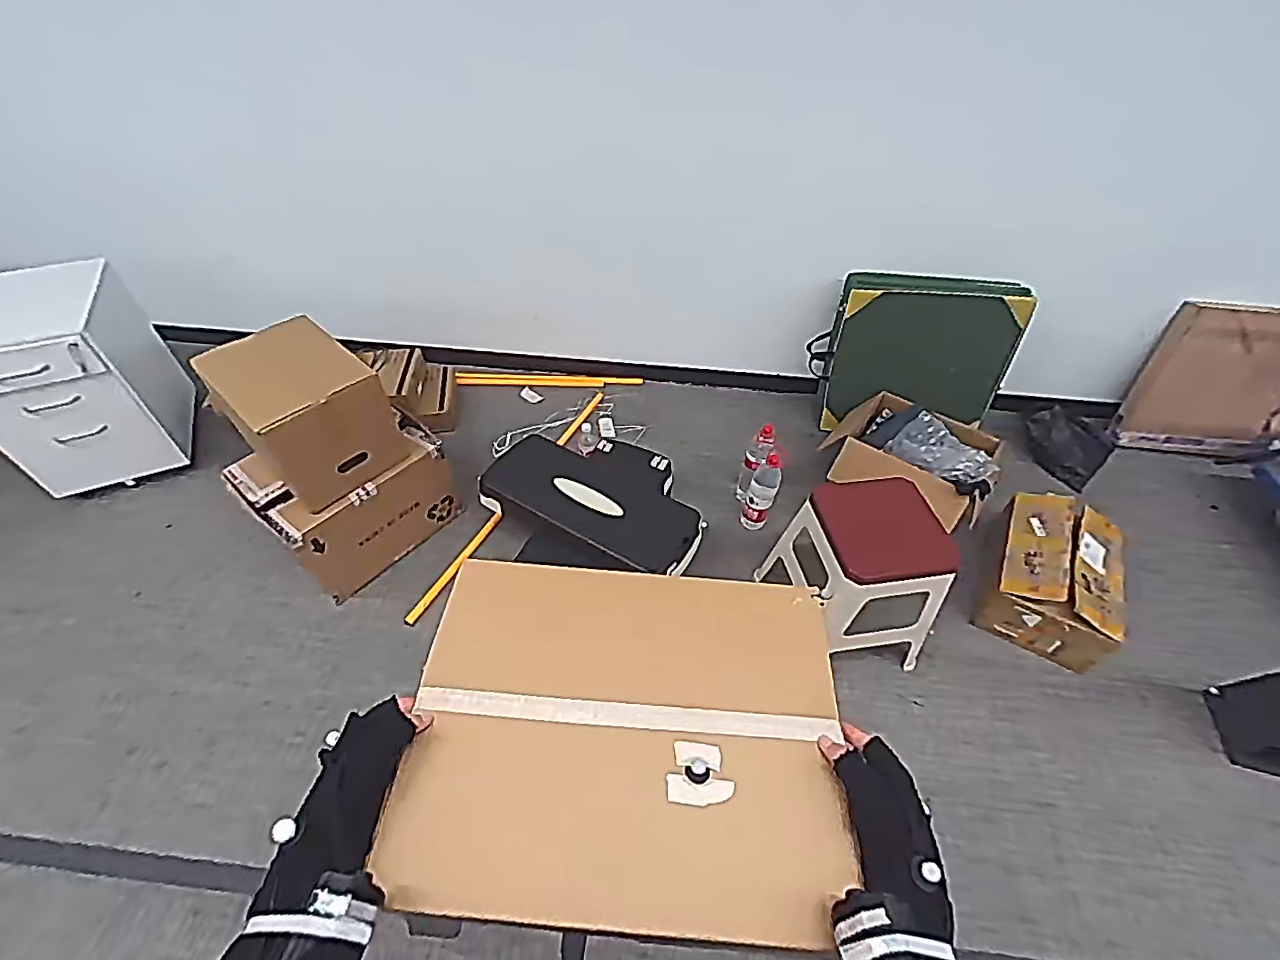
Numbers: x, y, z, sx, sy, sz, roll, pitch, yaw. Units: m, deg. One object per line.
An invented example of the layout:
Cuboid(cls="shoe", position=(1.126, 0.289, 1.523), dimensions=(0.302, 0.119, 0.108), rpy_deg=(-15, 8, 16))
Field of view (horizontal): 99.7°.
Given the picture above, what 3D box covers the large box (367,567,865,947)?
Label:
Cuboid(cls="large box", position=(-0.019, 0.327, 0.632), dimensions=(0.408, 0.320, 0.320), rpy_deg=(5, 50, 1))
